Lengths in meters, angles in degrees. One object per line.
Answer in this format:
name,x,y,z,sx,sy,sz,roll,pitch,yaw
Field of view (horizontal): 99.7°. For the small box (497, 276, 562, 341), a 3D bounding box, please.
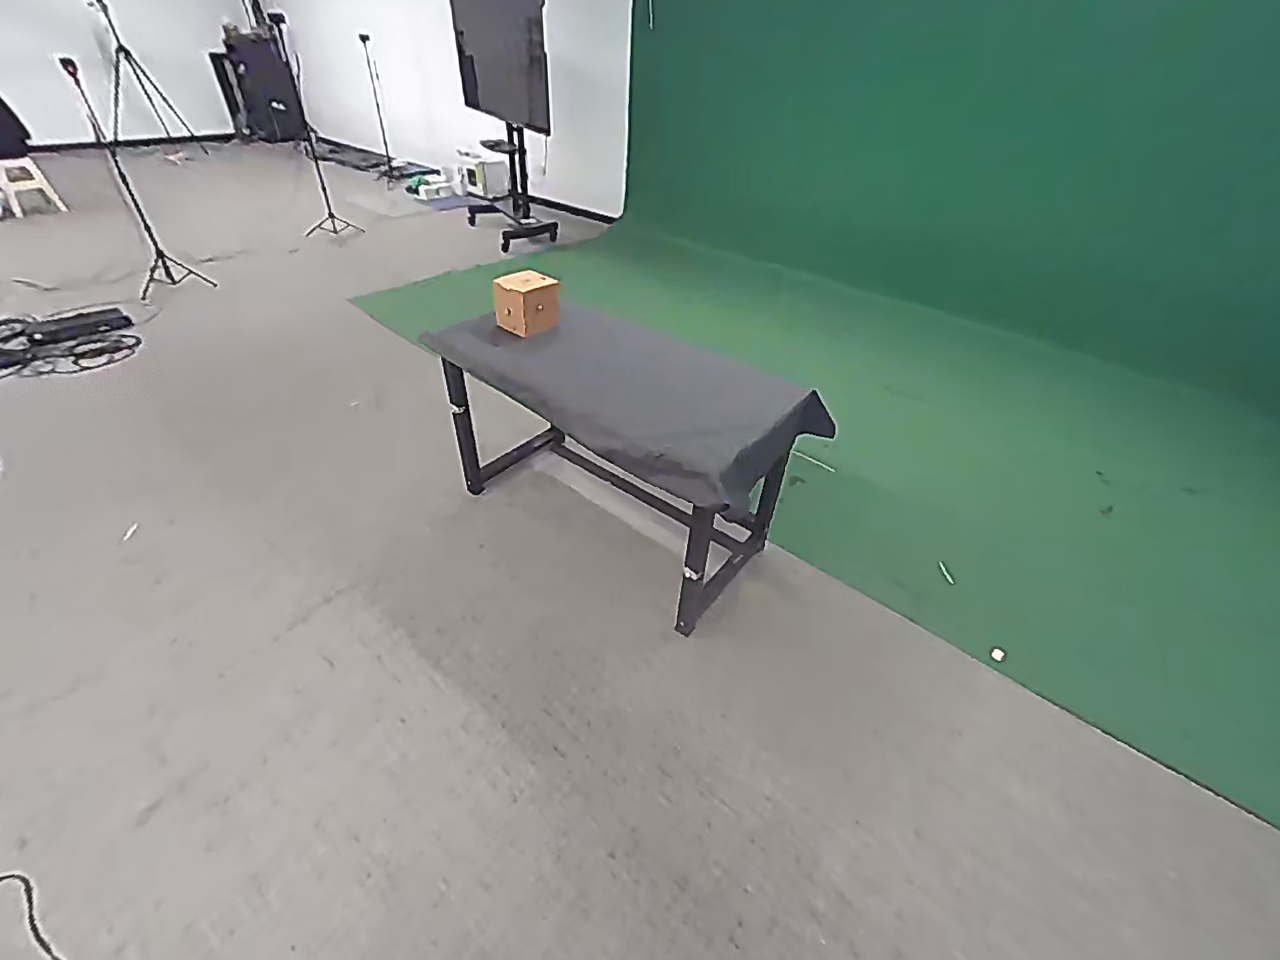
small box,-0.400,-0.630,1.992,0.168,0.176,0.179,31,46,28
